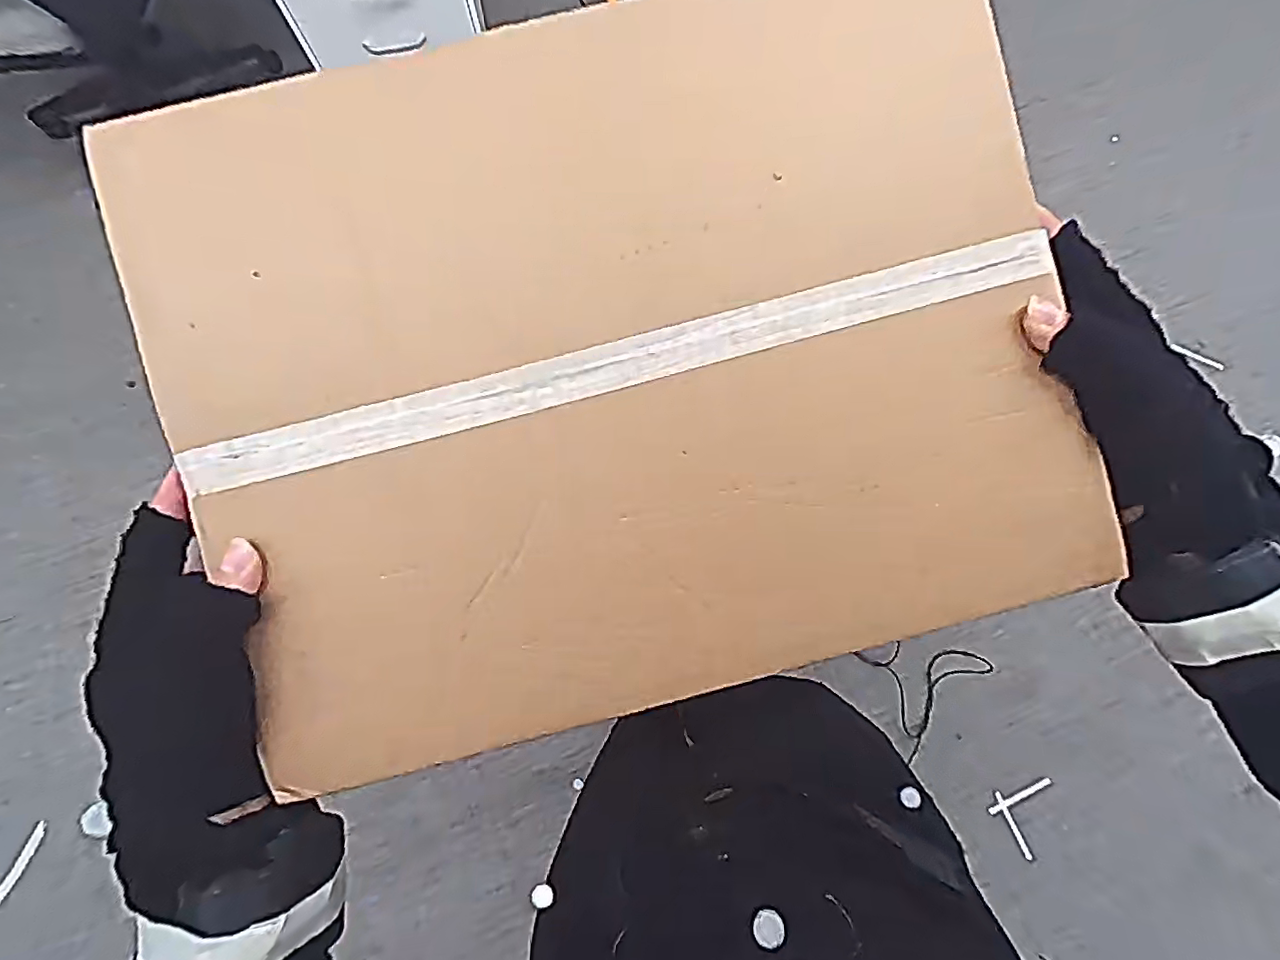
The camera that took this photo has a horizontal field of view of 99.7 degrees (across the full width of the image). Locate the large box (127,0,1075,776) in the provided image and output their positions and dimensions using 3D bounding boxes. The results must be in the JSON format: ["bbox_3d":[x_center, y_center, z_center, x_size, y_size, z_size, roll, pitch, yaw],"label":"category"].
[{"bbox_3d":[-0.013,-0.059,0.408,0.408,0.320,0.320,-14,91,-1],"label":"large box"}]
